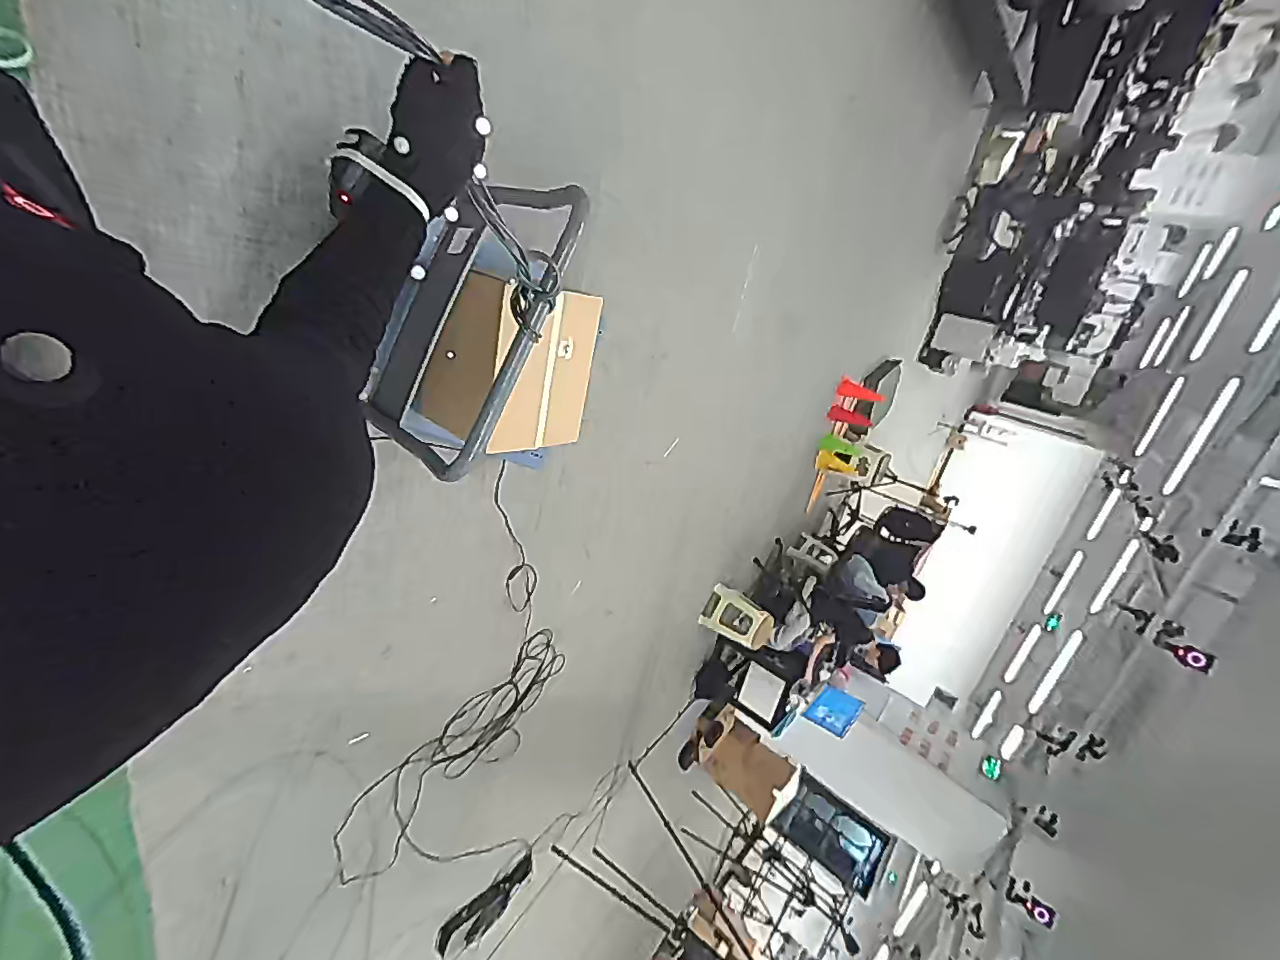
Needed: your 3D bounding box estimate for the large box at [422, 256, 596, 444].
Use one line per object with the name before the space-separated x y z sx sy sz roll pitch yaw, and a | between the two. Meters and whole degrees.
large box | -0.357 -0.344 1.440 0.320 0.320 0.408 -14 123 -50
